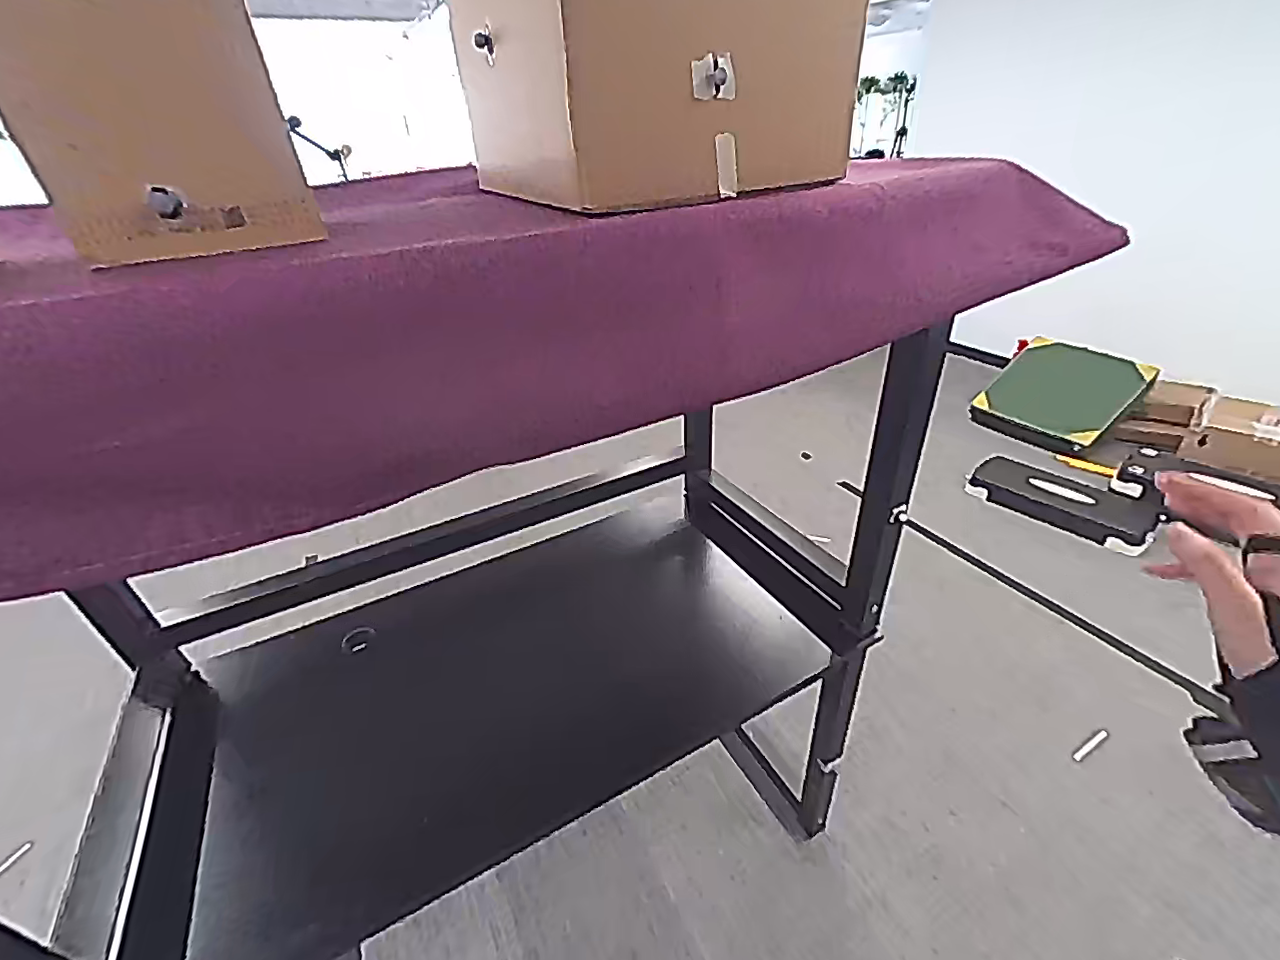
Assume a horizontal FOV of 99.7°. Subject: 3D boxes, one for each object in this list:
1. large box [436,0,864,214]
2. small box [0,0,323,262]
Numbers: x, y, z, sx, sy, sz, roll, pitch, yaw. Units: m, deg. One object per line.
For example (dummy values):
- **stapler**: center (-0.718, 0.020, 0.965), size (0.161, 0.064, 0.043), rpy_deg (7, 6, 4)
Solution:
- **large box**: center (-0.016, -0.486, 0.587), size (0.320, 0.320, 0.408), rpy_deg (-18, 34, -21)
- **small box**: center (-0.383, -0.285, 0.445), size (0.168, 0.176, 0.179), rpy_deg (-21, 37, -22)
